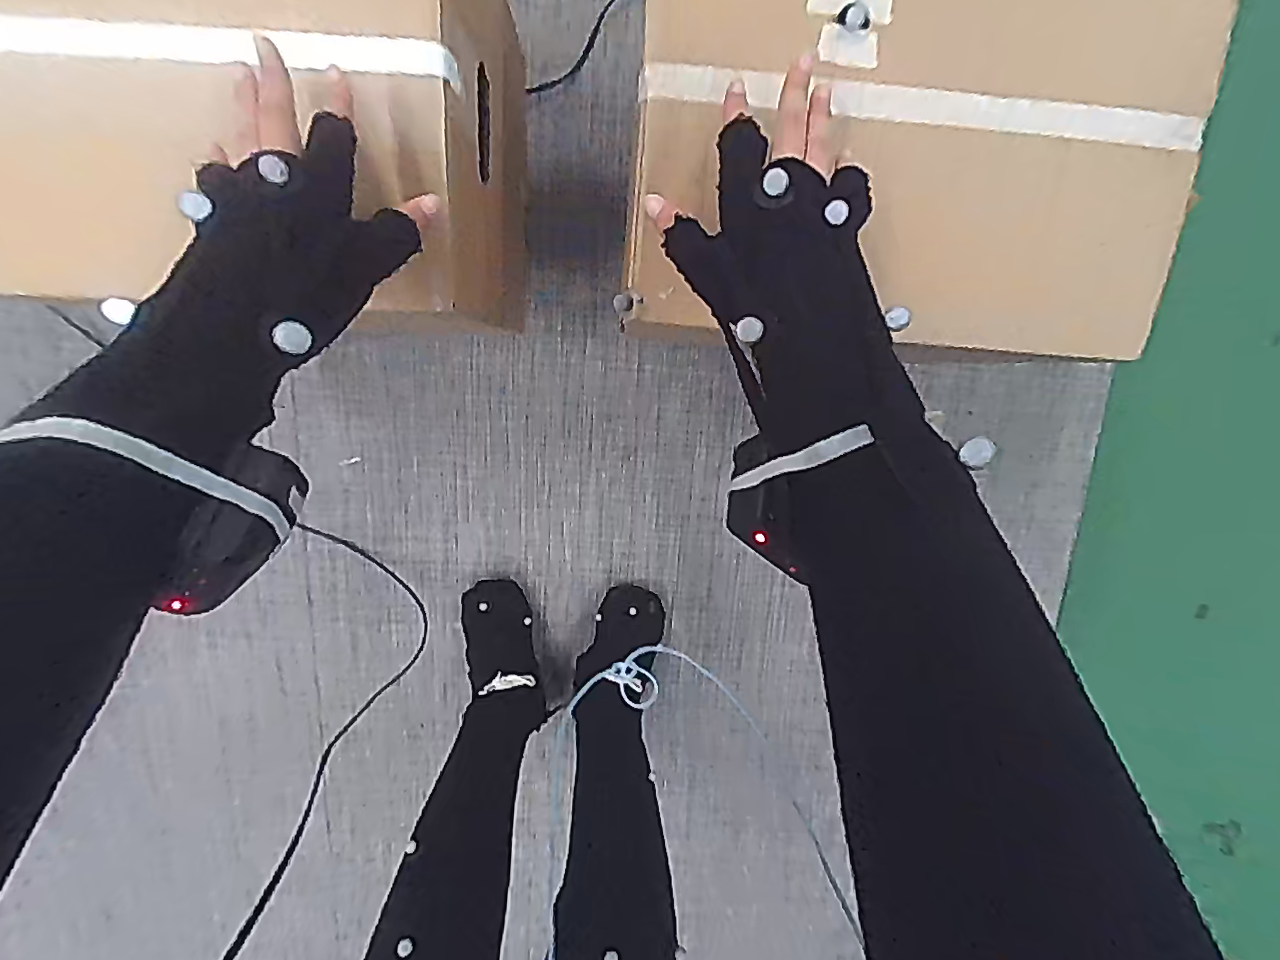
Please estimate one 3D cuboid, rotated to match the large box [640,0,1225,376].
[{"bbox_3d":[0.213,-0.282,0.553,0.408,0.320,0.320,5,102,-2],"label":"large box"}]
